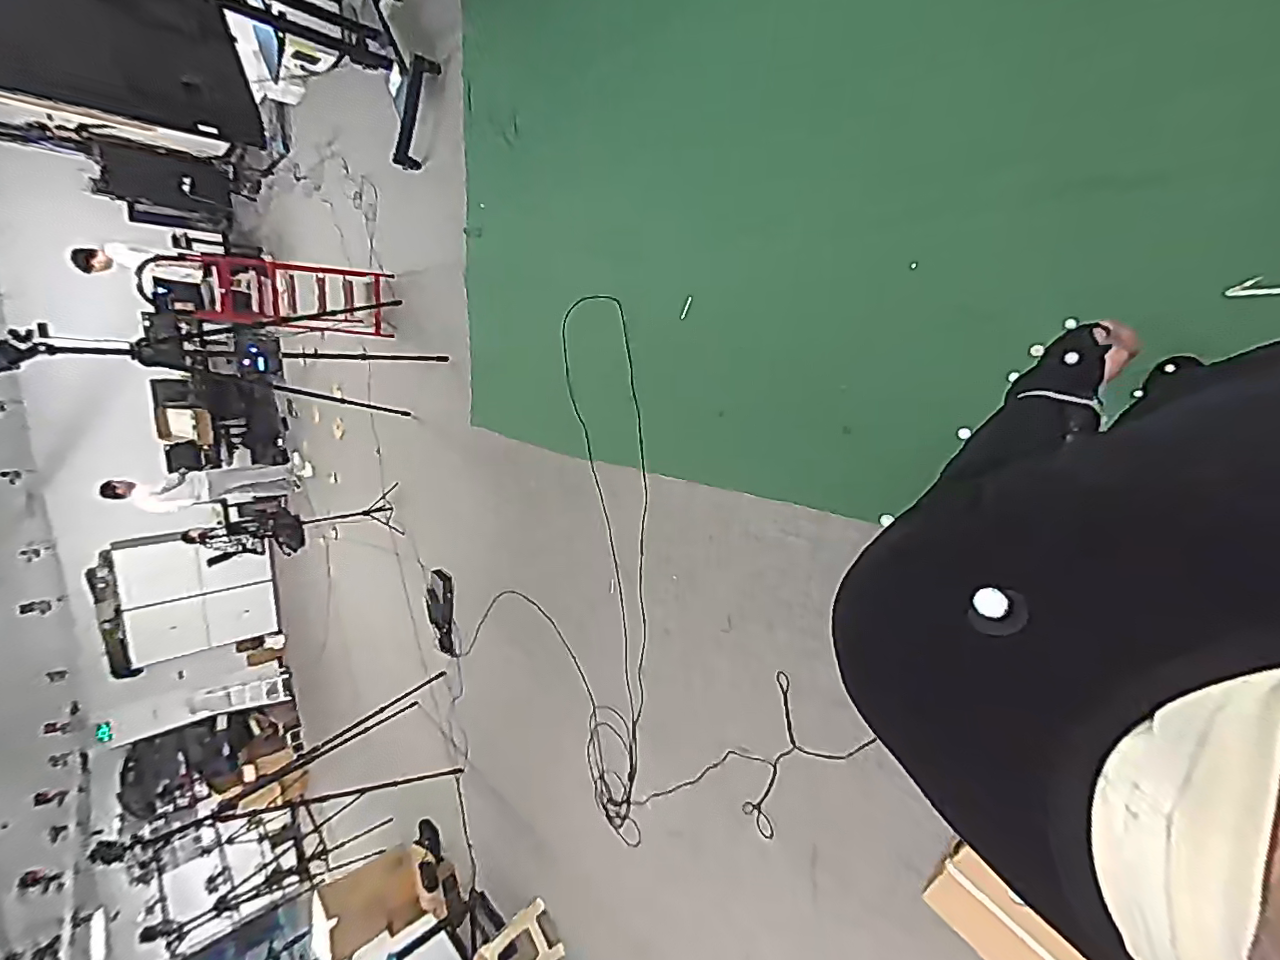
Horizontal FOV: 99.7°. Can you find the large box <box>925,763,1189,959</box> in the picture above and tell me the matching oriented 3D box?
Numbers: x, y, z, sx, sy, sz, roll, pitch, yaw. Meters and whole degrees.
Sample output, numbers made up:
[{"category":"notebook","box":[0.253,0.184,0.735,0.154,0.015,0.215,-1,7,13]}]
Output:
[{"category":"large box","box":[1.018,1.019,1.347,0.408,0.320,0.320,36,122,35]}]
